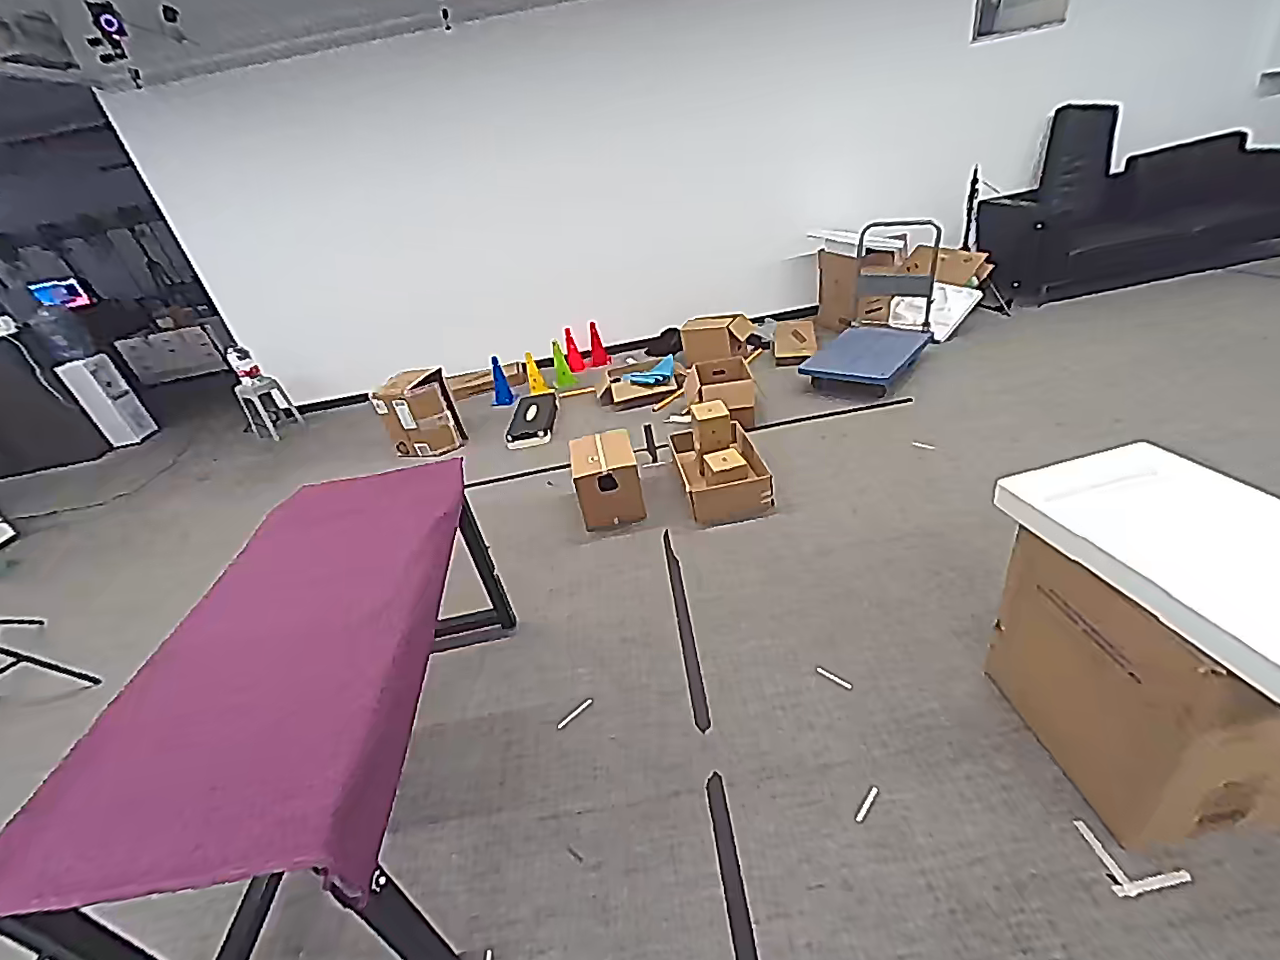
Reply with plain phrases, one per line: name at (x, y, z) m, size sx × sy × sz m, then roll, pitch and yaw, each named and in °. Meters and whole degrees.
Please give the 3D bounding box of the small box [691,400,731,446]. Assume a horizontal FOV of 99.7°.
small box at (0.363, -0.285, 2.773) m, size 0.168 × 0.176 × 0.179 m, roll -11°, pitch 33°, yaw -2°

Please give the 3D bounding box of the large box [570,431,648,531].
large box at (-0.161, -0.003, 2.761) m, size 0.320 × 0.320 × 0.408 m, roll -14°, pitch 32°, yaw -3°
